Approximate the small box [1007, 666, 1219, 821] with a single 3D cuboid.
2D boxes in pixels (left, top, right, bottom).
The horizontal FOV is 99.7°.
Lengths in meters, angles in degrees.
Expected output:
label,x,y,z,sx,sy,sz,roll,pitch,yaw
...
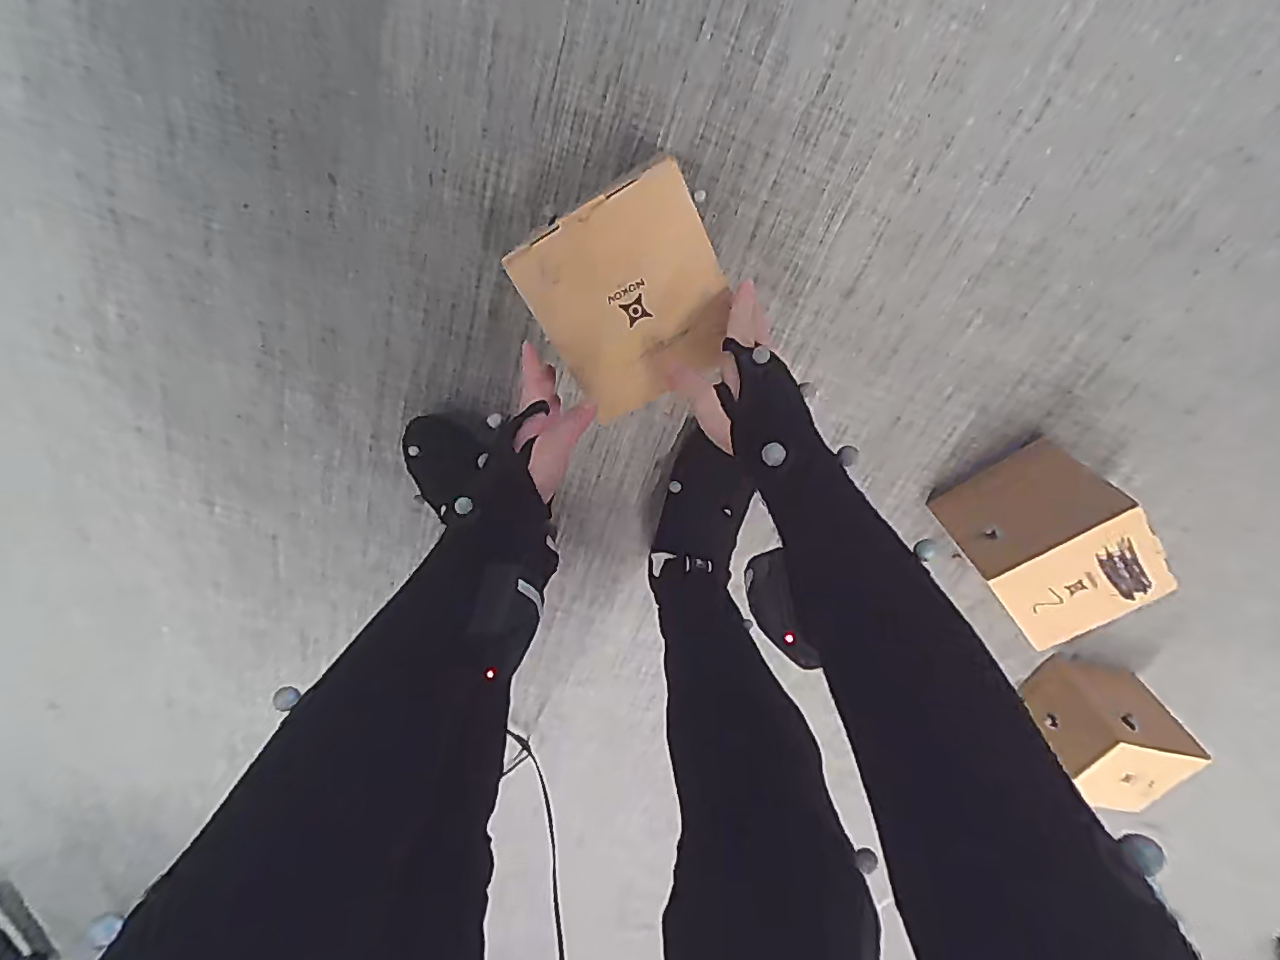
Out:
label,x,y,z,sx,sy,sz,roll,pitch,yaw
small box,0.789,0.445,0.928,0.179,0.176,0.168,13,121,-8
